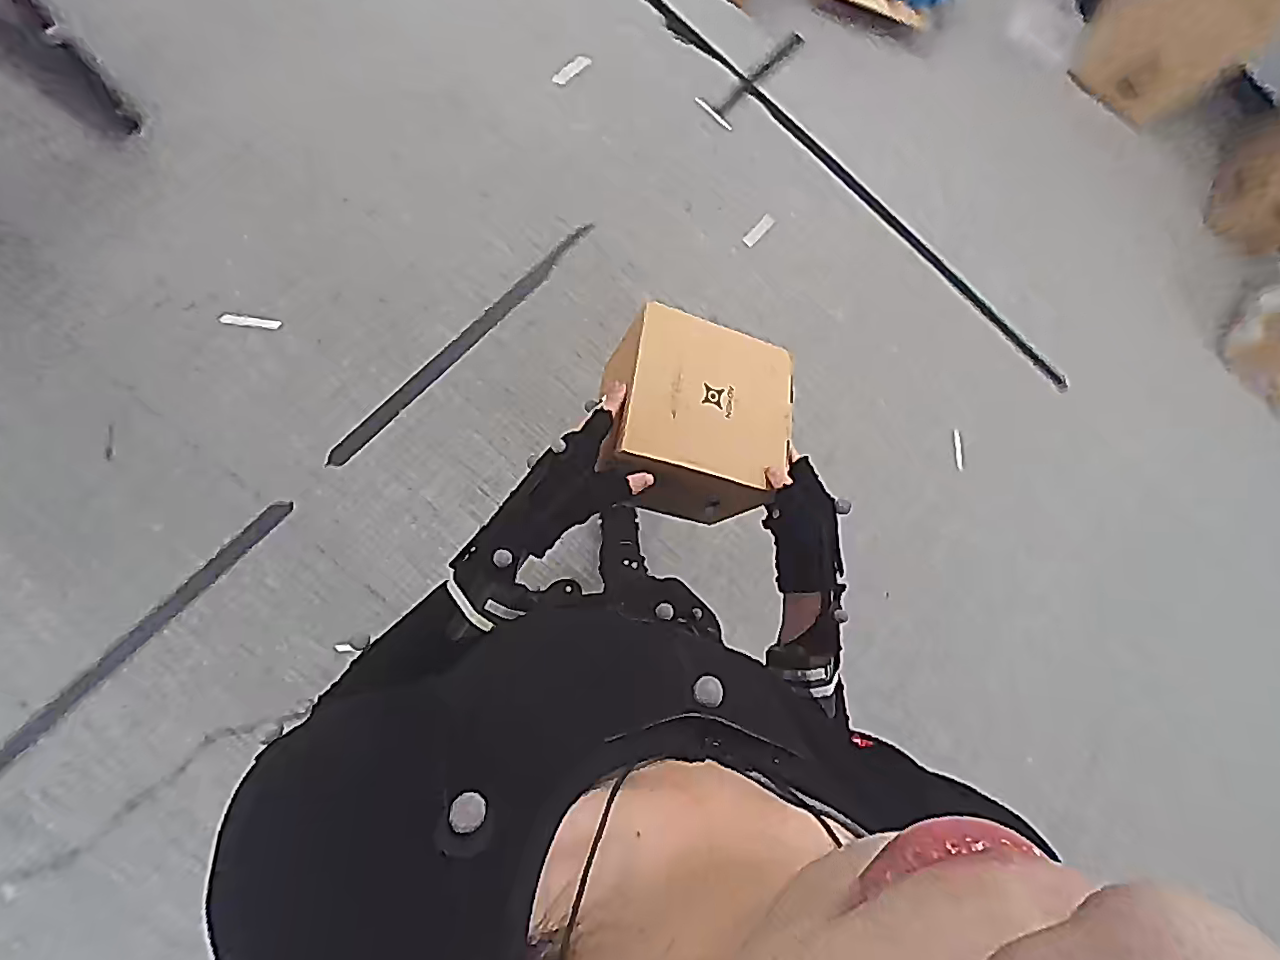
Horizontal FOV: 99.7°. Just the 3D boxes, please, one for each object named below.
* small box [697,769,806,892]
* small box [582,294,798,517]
[{"bbox_3d":[0.276,0.872,1.369,0.179,0.176,0.168,41,75,-3],"label":"small box"},{"bbox_3d":[0.050,-0.064,0.591,0.179,0.176,0.168,13,69,-16],"label":"small box"}]
